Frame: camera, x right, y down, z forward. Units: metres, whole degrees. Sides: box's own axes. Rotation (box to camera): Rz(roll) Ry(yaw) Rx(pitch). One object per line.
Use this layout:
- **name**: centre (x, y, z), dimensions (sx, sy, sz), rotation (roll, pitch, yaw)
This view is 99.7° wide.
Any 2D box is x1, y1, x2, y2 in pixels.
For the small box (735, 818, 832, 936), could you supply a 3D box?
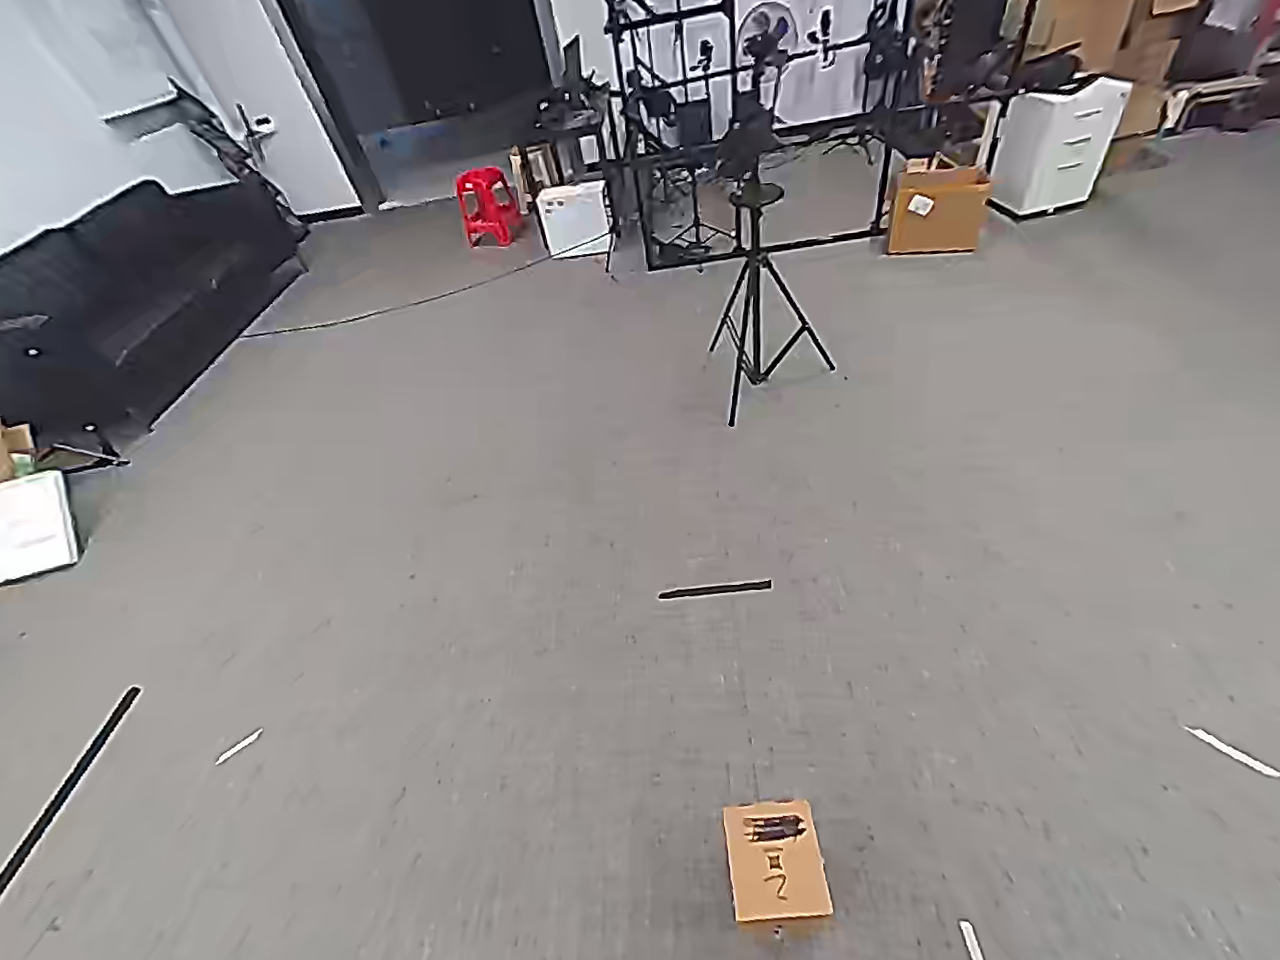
- **small box**: centre (0.294, 0.841, 1.144), dimensions (0.168, 0.176, 0.179), rotation (-7, 45, 6)
